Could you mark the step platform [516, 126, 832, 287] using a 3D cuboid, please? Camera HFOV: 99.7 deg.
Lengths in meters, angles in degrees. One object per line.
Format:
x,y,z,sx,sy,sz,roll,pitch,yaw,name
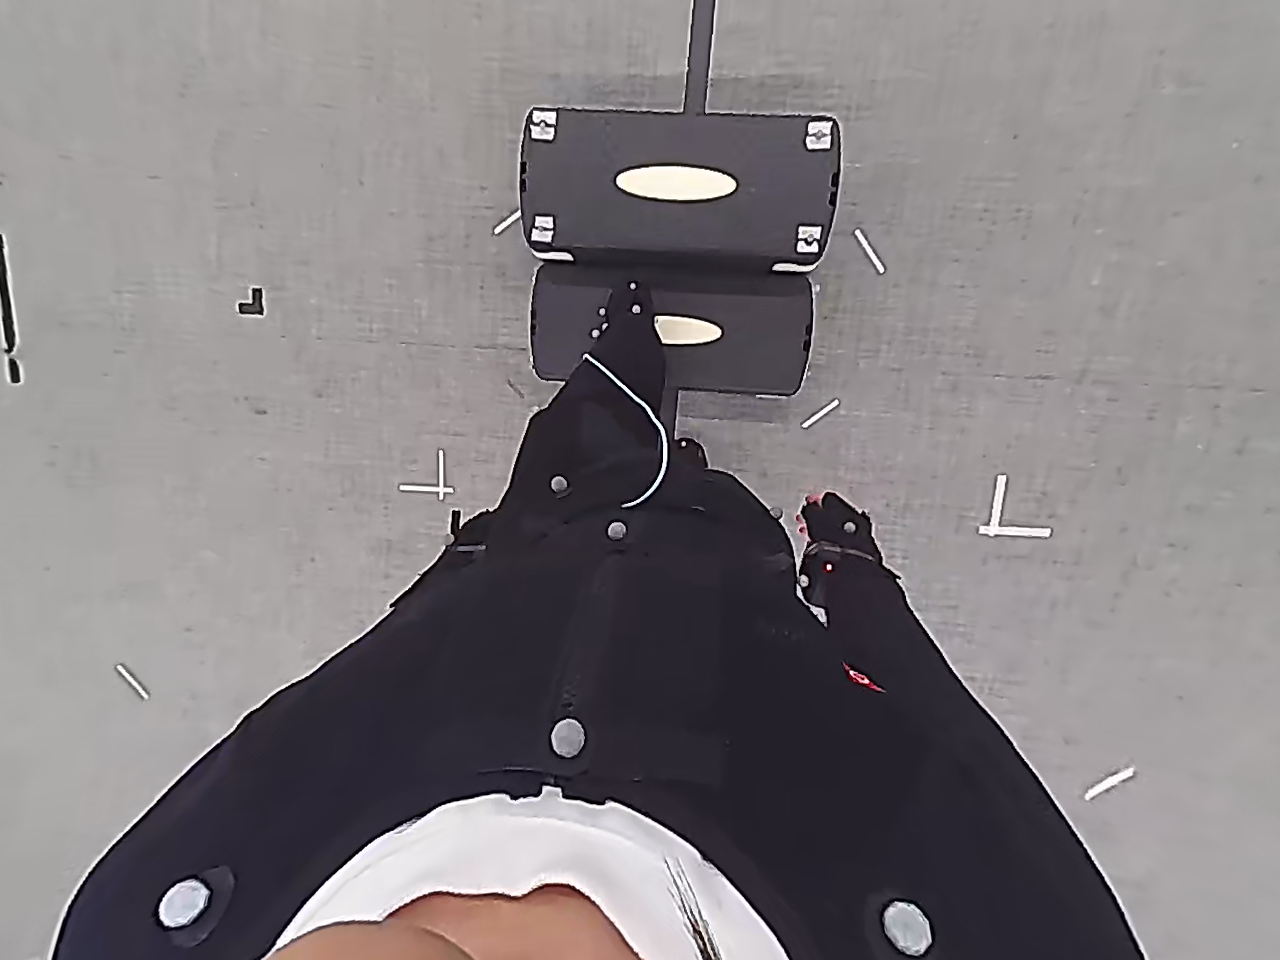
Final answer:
0.069,-0.607,1.218,0.684,0.204,0.286,3,102,3,step platform
